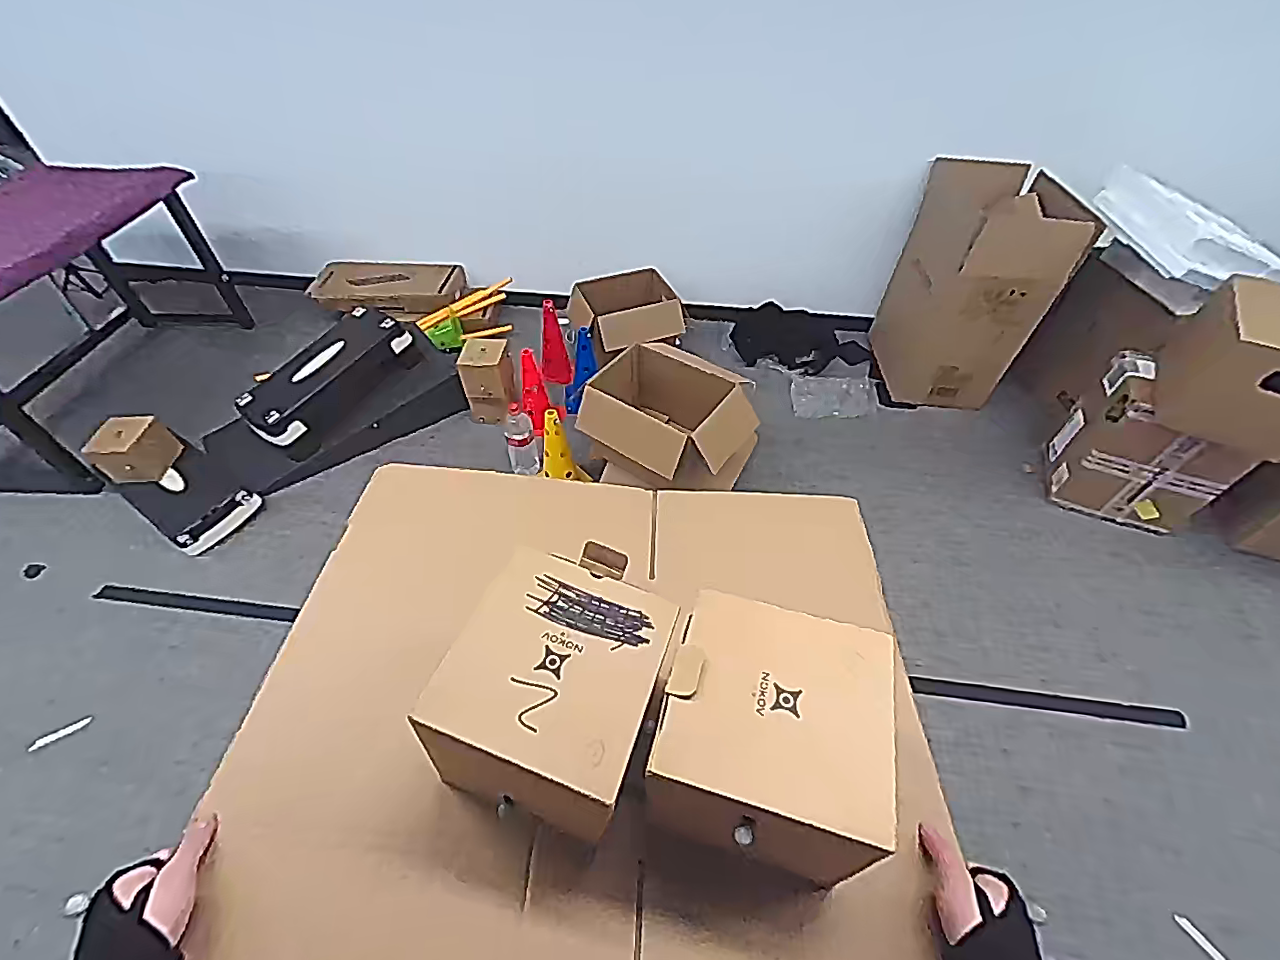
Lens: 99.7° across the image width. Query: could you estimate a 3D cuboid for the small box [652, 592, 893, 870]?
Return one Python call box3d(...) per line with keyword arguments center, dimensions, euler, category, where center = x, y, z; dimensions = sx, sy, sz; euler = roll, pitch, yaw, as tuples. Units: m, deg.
box3d(center=(0.116, 0.234, 0.500), dimensions=(0.179, 0.176, 0.168), euler=(11, 48, 13), category="small box")
